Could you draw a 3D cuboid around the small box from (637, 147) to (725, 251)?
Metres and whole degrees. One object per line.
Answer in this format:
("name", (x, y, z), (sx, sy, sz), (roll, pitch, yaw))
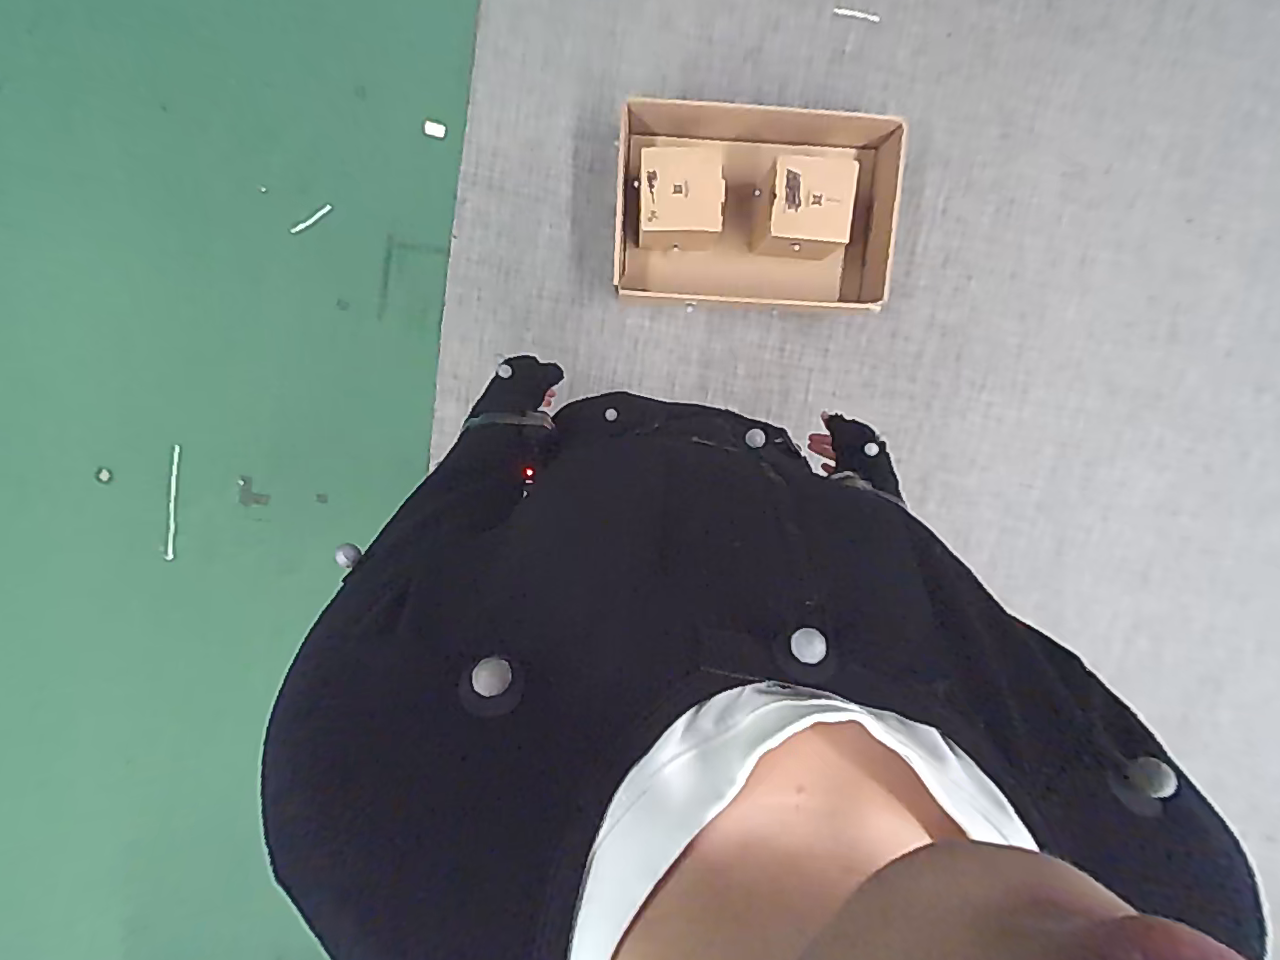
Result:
("small box", (0.087, -0.627, 1.224), (0.179, 0.176, 0.168), (0, 99, -3))

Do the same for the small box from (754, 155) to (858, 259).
("small box", (0.368, -0.613, 1.232), (0.179, 0.176, 0.168), (5, 100, -1))
